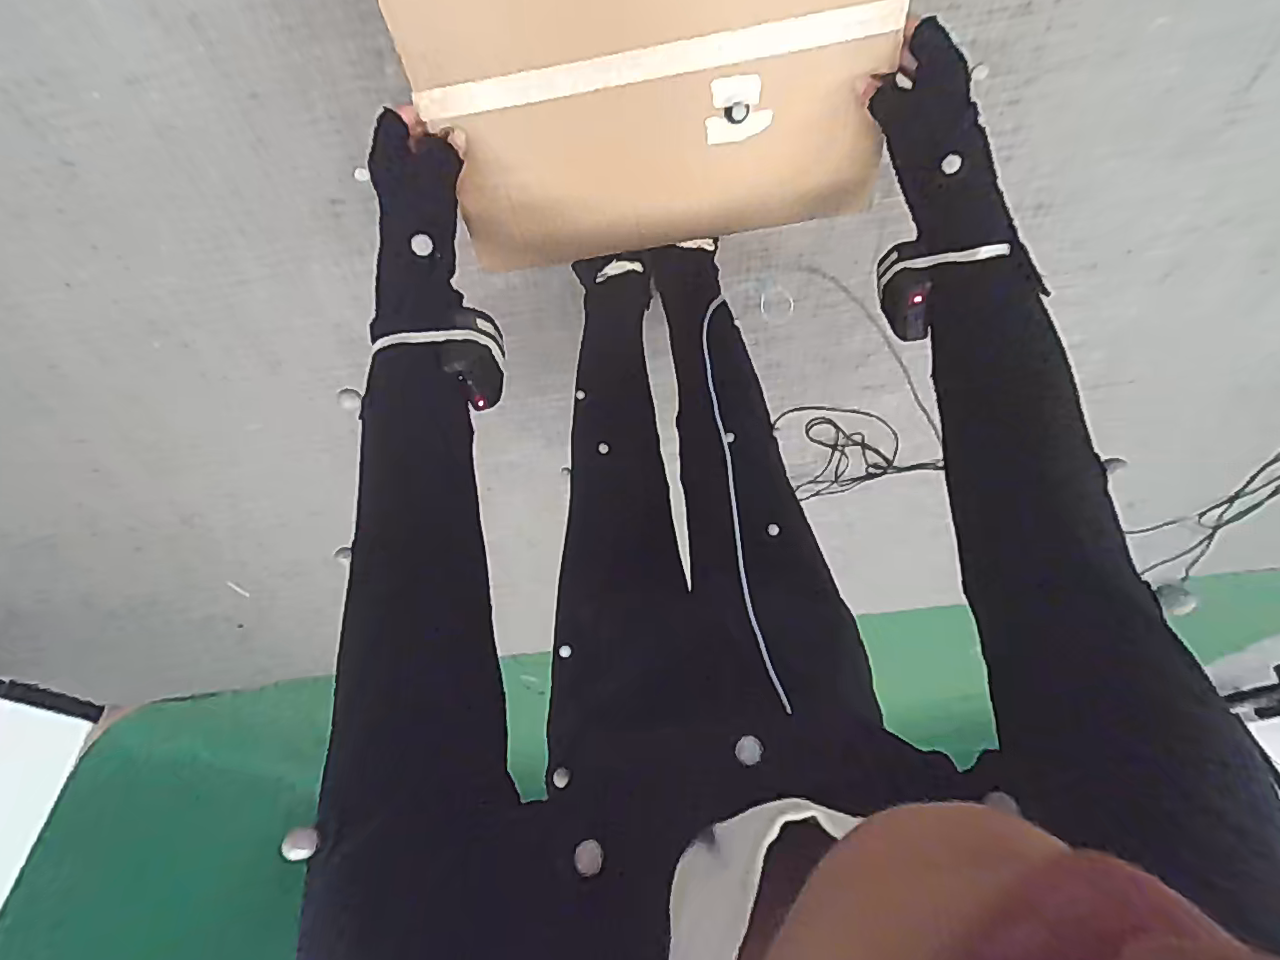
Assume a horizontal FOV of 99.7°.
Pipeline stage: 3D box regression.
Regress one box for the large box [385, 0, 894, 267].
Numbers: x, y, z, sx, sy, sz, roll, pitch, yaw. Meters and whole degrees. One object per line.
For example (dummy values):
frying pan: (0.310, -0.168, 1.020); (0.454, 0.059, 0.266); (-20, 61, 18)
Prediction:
large box: (-0.002, -0.466, 0.547); (0.408, 0.320, 0.320); (-9, 140, 4)
